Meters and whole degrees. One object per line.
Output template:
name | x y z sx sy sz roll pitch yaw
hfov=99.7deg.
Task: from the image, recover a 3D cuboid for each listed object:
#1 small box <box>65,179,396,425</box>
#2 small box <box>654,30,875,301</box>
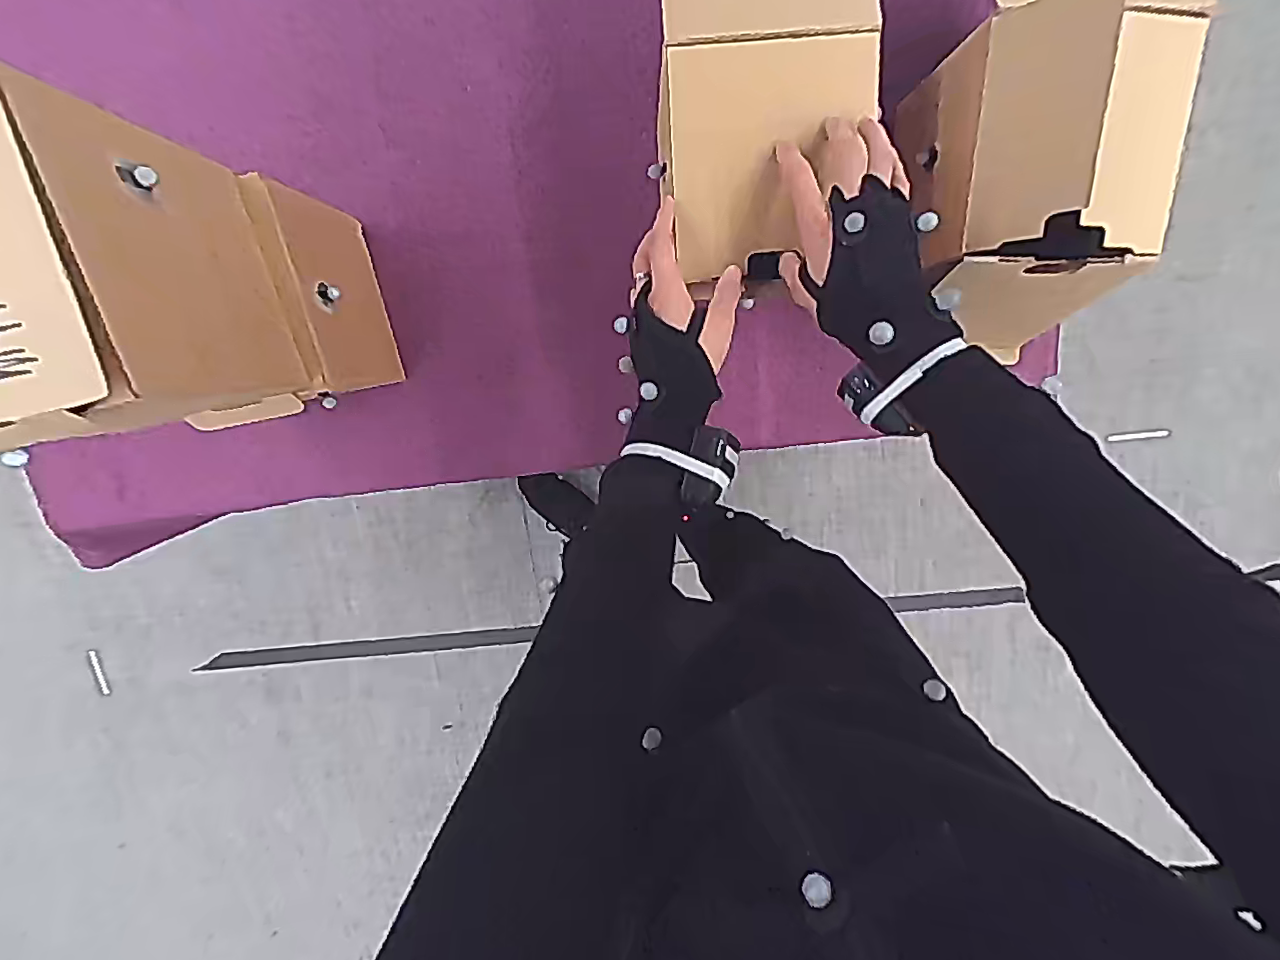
small box | -0.368 -0.163 0.528 0.168 0.176 0.179 -11 103 1
small box | 0.099 -0.269 0.503 0.168 0.176 0.179 -3 104 1
